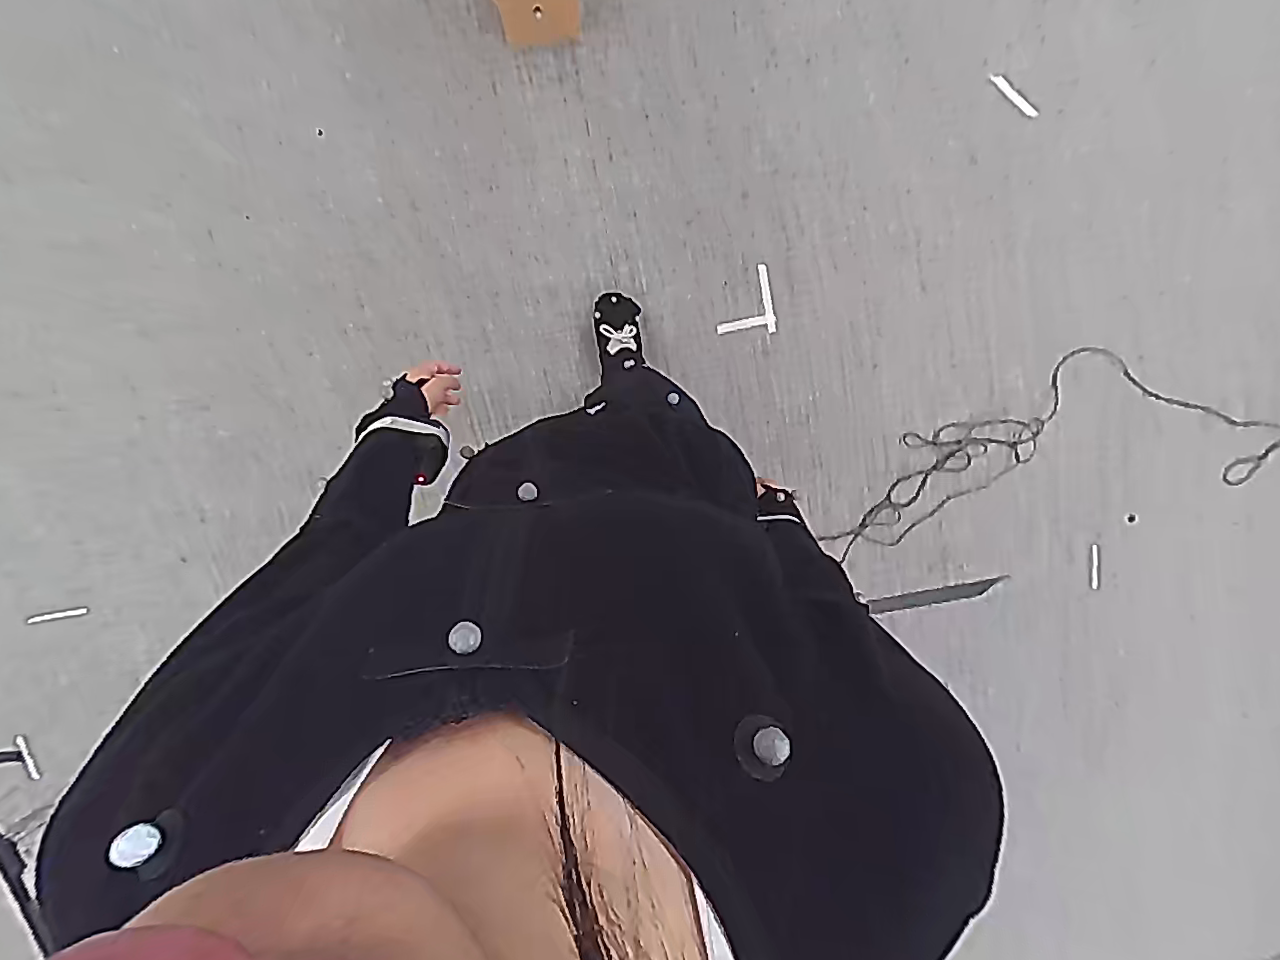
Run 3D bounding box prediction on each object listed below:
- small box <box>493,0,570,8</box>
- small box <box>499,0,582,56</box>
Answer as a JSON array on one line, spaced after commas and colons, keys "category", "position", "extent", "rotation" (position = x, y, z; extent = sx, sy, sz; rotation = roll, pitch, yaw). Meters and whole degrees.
[{"category": "small box", "position": [-0.222, -1.049, 1.033], "extent": [0.179, 0.176, 0.168], "rotation": [-8, 102, -2]}, {"category": "small box", "position": [-0.226, -1.084, 1.194], "extent": [0.179, 0.176, 0.168], "rotation": [-10, 101, -2]}]
